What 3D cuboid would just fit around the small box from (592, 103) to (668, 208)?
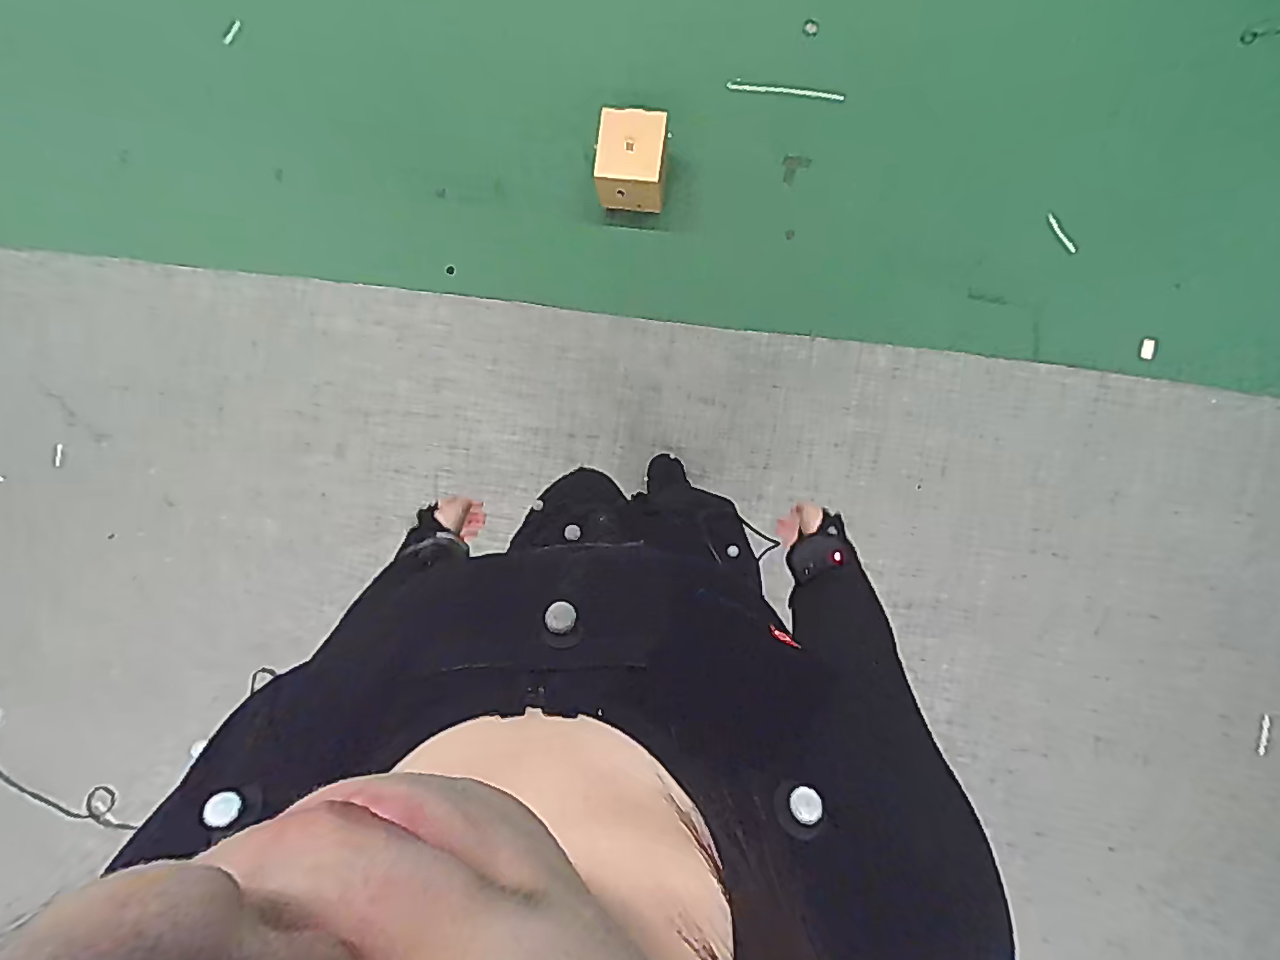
[{"bbox_3d":[-0.019,-0.835,1.408,0.168,0.176,0.179,8,91,5],"label":"small box"}]
